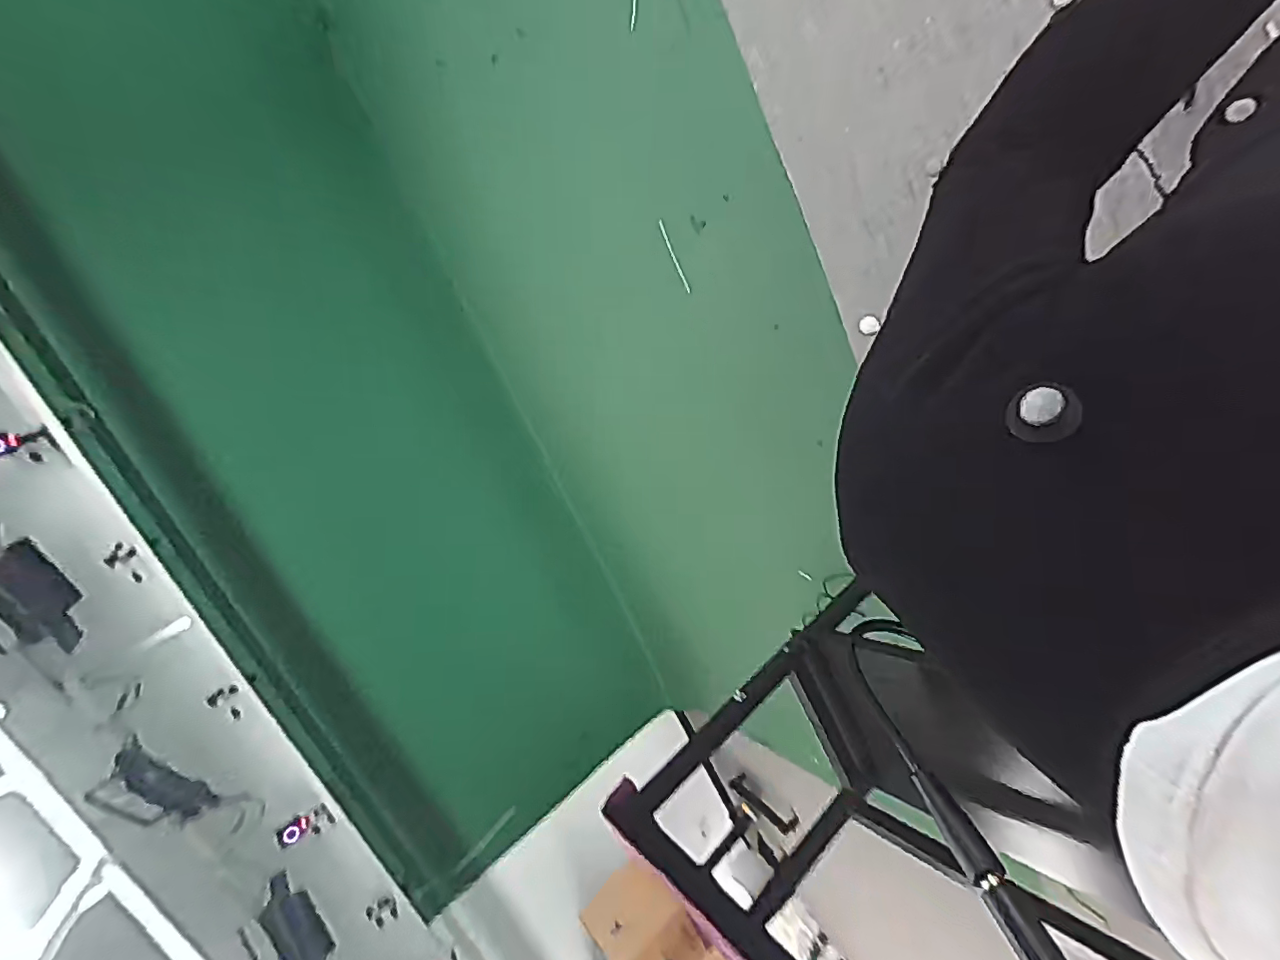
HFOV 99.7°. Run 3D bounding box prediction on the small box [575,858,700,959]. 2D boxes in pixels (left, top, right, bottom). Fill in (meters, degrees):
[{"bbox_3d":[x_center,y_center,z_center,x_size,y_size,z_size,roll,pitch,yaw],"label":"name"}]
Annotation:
[{"bbox_3d":[0.002,0.938,1.112,0.179,0.176,0.168,1,118,57],"label":"small box"}]
